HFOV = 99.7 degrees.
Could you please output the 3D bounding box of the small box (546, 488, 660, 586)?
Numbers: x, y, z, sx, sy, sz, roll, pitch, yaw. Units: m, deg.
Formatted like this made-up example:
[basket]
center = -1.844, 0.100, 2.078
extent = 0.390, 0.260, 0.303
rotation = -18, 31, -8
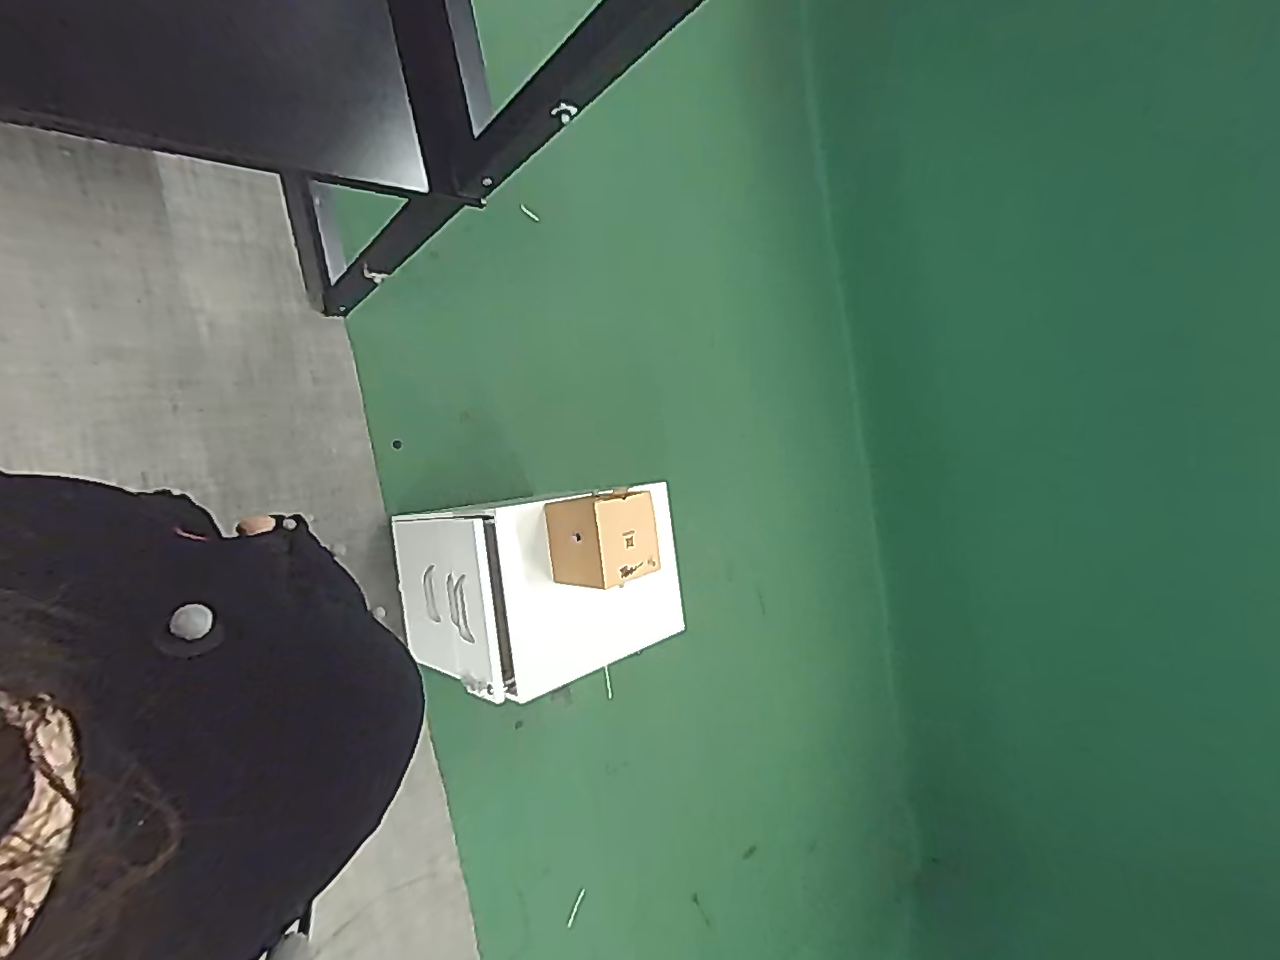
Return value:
[small box]
center = -0.083, 0.117, 1.144
extent = 0.168, 0.176, 0.179
rotation = -10, 94, -45
